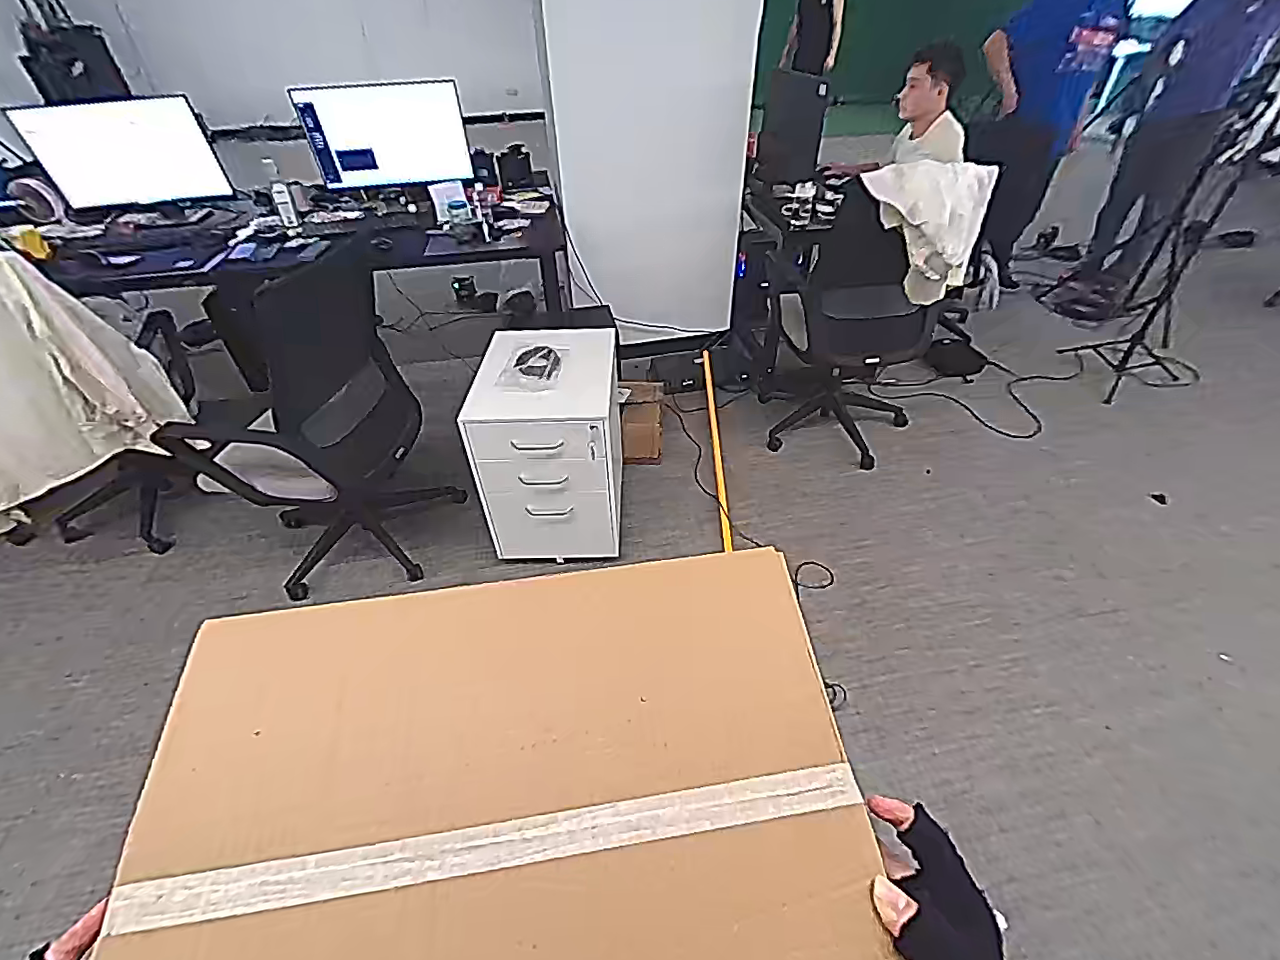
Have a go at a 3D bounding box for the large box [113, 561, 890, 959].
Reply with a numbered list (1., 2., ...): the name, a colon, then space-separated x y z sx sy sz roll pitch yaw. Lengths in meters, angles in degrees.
1. large box: -0.076 0.292 0.430 0.408 0.320 0.320 -7 55 -4
